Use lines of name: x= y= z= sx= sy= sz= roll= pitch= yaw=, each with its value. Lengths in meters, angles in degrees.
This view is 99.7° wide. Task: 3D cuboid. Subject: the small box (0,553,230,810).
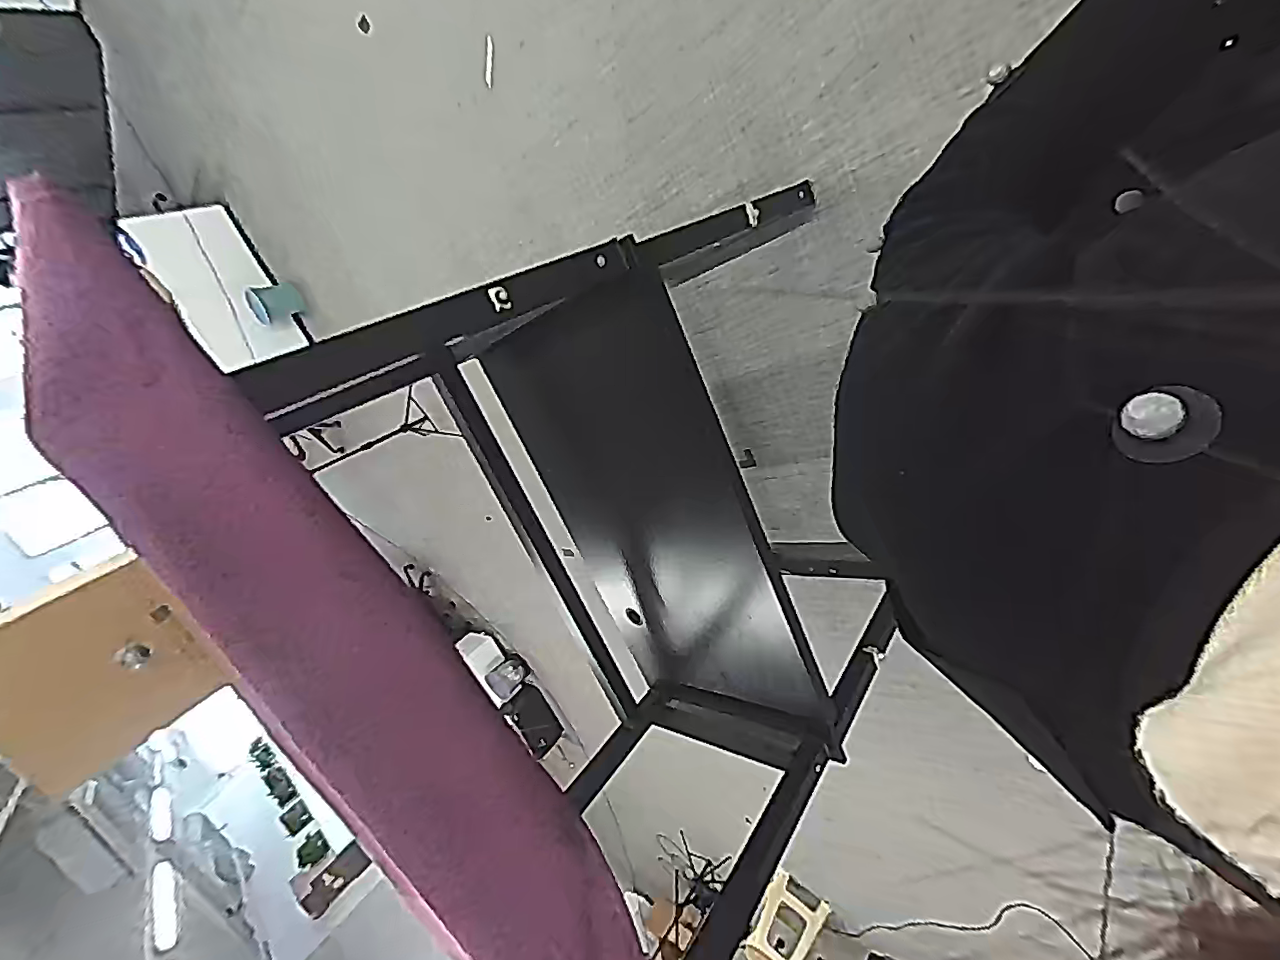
small box: x=-0.582 y=0.194 z=0.578 sx=0.179 sy=0.176 sz=0.168 roll=-1 pitch=119 yaw=46
